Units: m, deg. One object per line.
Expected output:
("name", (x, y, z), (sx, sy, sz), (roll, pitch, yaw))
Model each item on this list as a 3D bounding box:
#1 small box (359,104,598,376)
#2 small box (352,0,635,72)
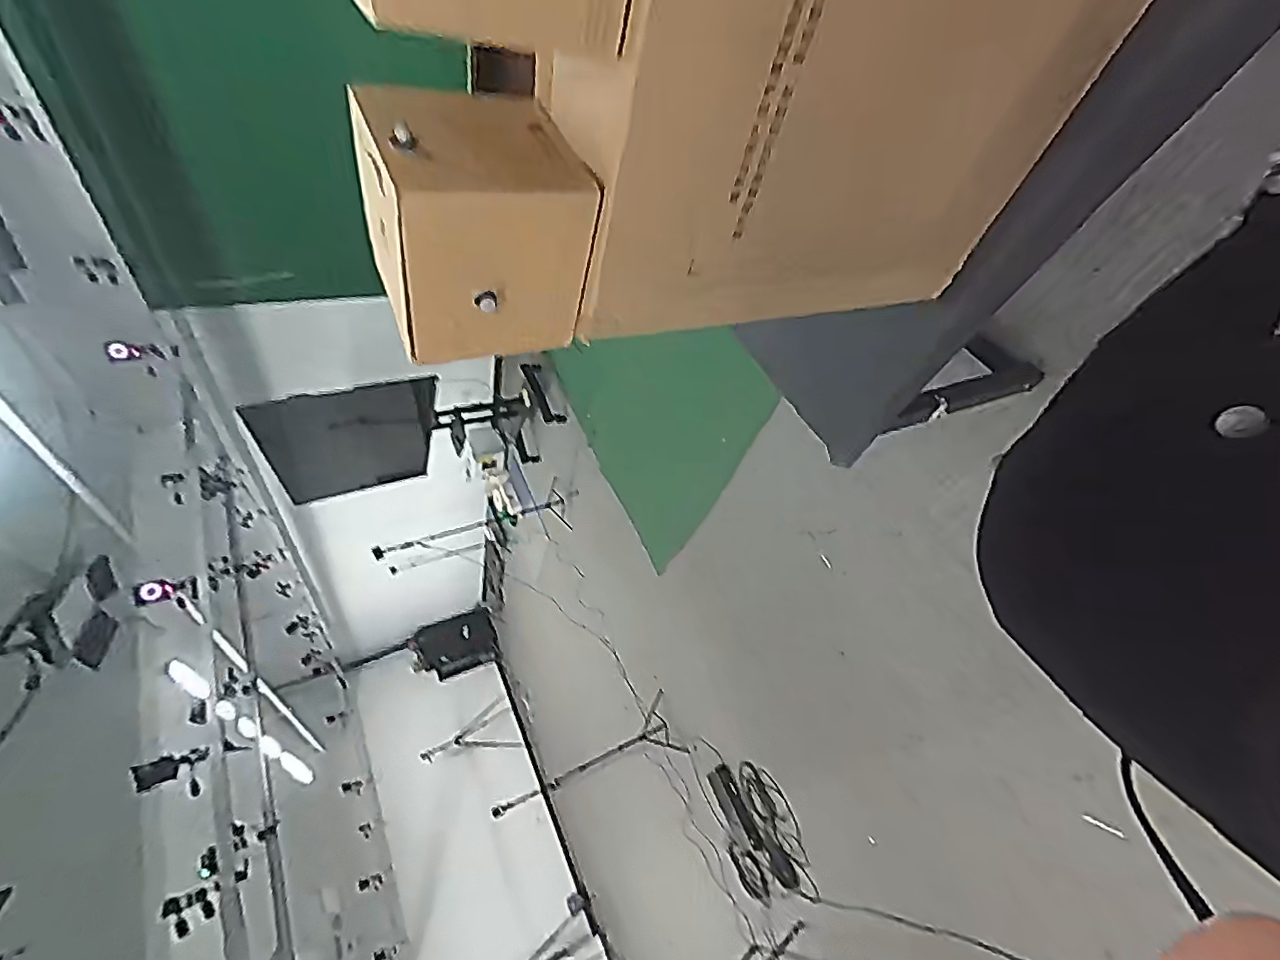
("small box", (-0.154, -0.231, 0.531), (0.168, 0.176, 0.179), (60, 150, 26))
("small box", (-0.103, -0.394, 0.349), (0.179, 0.176, 0.168), (57, 147, 29))
